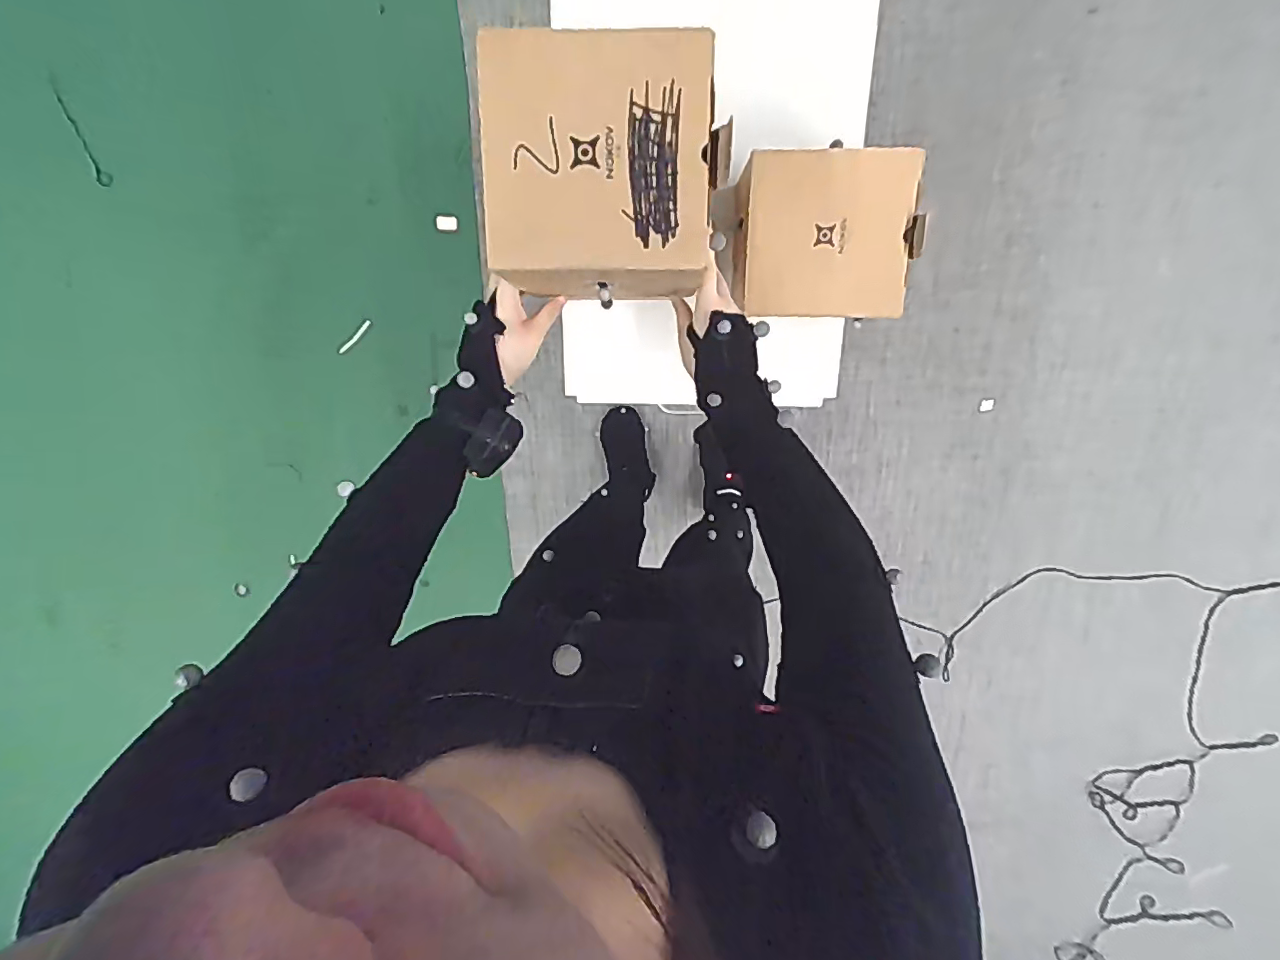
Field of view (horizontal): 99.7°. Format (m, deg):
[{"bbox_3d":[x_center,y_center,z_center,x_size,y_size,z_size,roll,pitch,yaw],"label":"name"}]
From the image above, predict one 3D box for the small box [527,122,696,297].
[{"bbox_3d":[-0.026,-0.308,0.647,0.179,0.176,0.168,0,108,2],"label":"small box"}]
